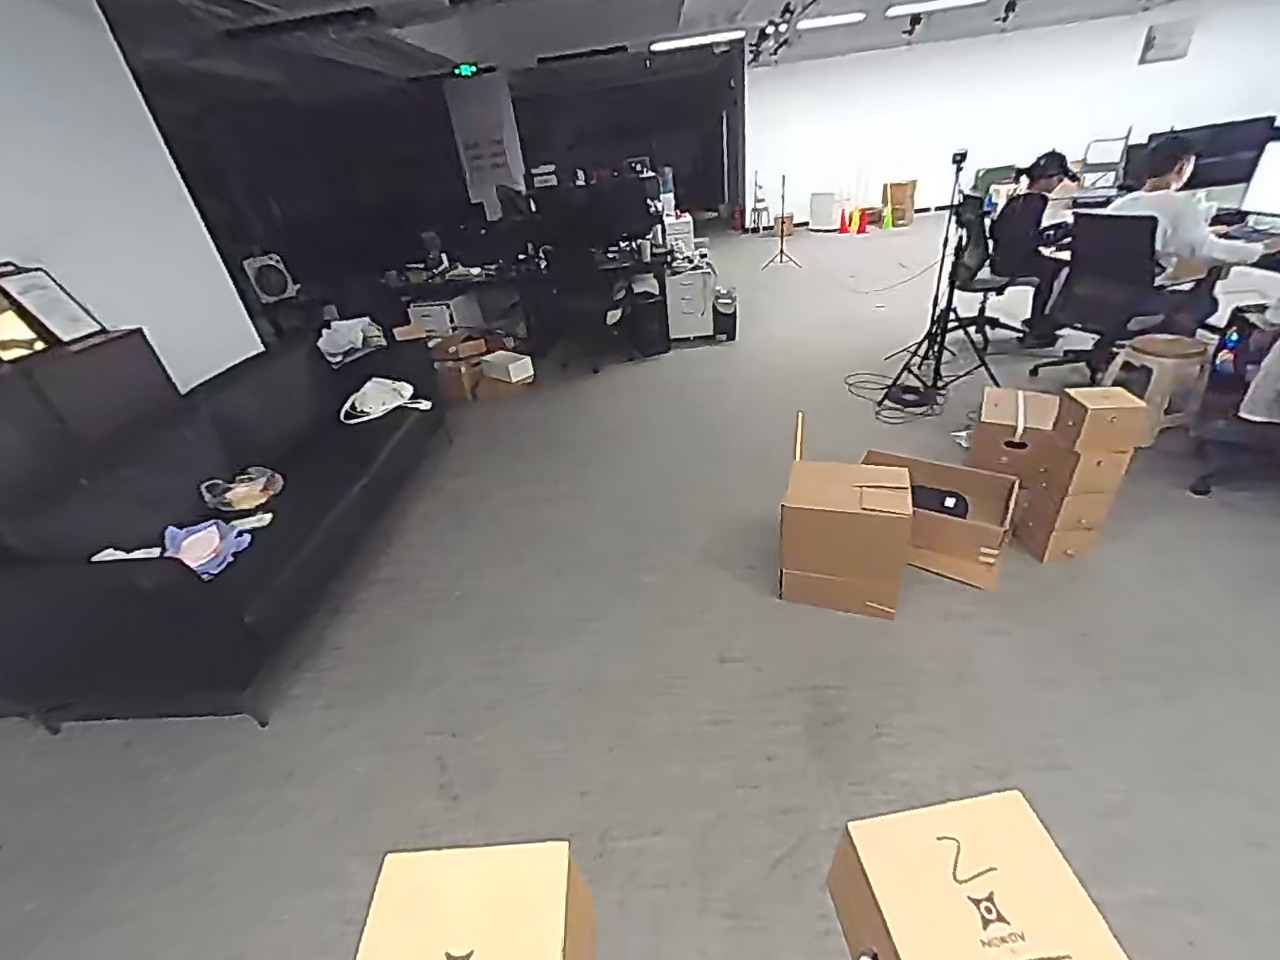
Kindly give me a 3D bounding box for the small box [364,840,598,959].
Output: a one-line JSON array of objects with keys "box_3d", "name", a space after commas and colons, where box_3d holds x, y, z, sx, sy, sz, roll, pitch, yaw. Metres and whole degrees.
[{"box_3d": [-0.128, 0.438, 0.460, 0.168, 0.176, 0.179, -4, 39, 2], "name": "small box"}]
